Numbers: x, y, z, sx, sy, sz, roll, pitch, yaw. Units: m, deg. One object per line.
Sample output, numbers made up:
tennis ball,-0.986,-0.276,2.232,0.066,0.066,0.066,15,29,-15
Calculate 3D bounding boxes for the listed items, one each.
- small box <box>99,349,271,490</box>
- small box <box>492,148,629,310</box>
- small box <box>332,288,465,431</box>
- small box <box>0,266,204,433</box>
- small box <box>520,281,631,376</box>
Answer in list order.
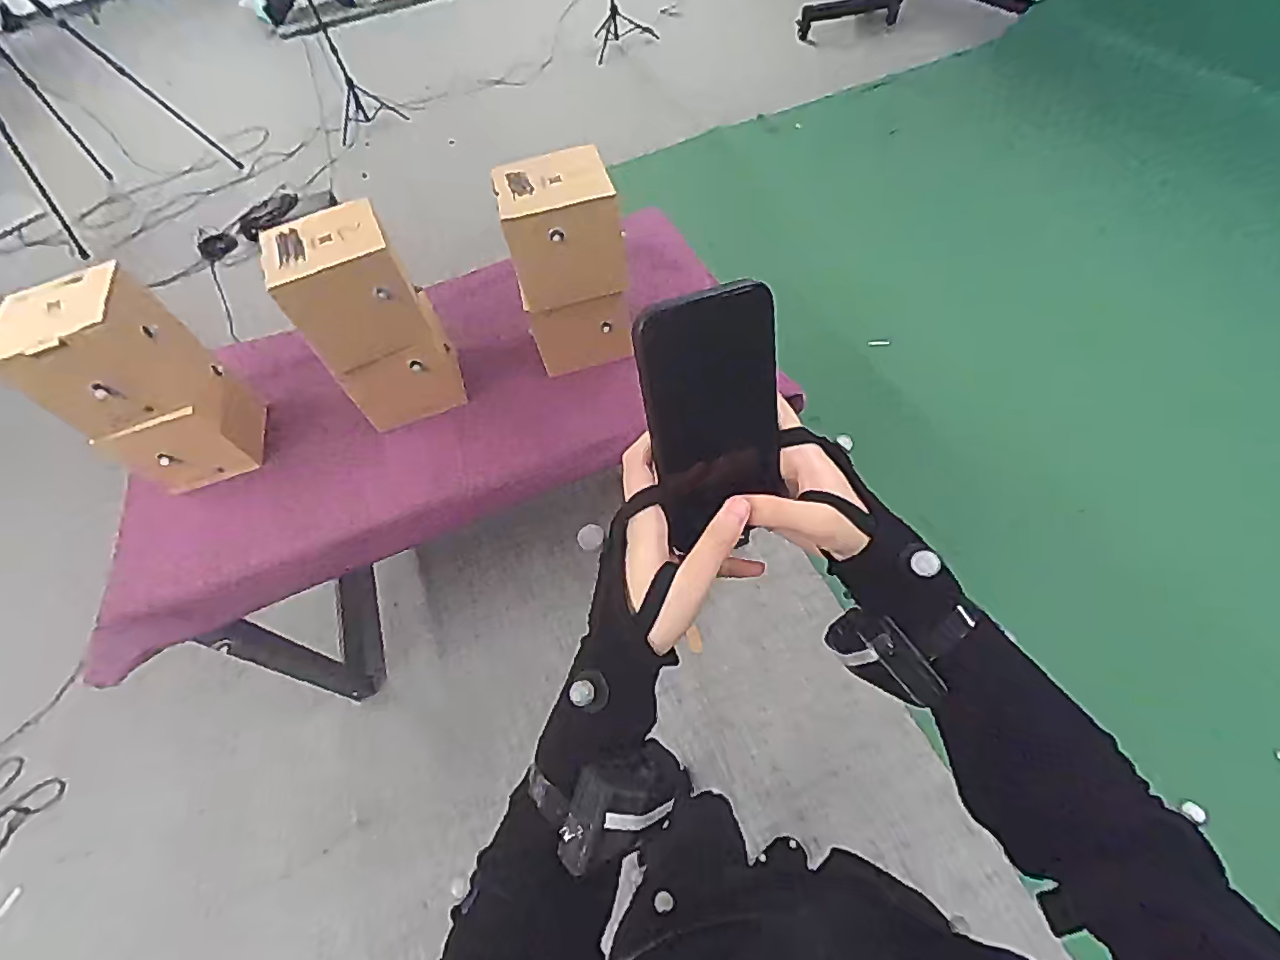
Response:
small box,-0.815,-0.101,0.991,0.168,0.176,0.179,-20,56,-5
small box,-0.128,-0.408,0.894,0.179,0.176,0.168,-15,56,-2
small box,-0.443,-0.221,1.013,0.179,0.176,0.168,-20,56,-5
small box,-0.838,-0.197,0.859,0.168,0.176,0.179,-24,57,-8
small box,-0.120,-0.328,1.037,0.179,0.176,0.168,-15,56,-1
